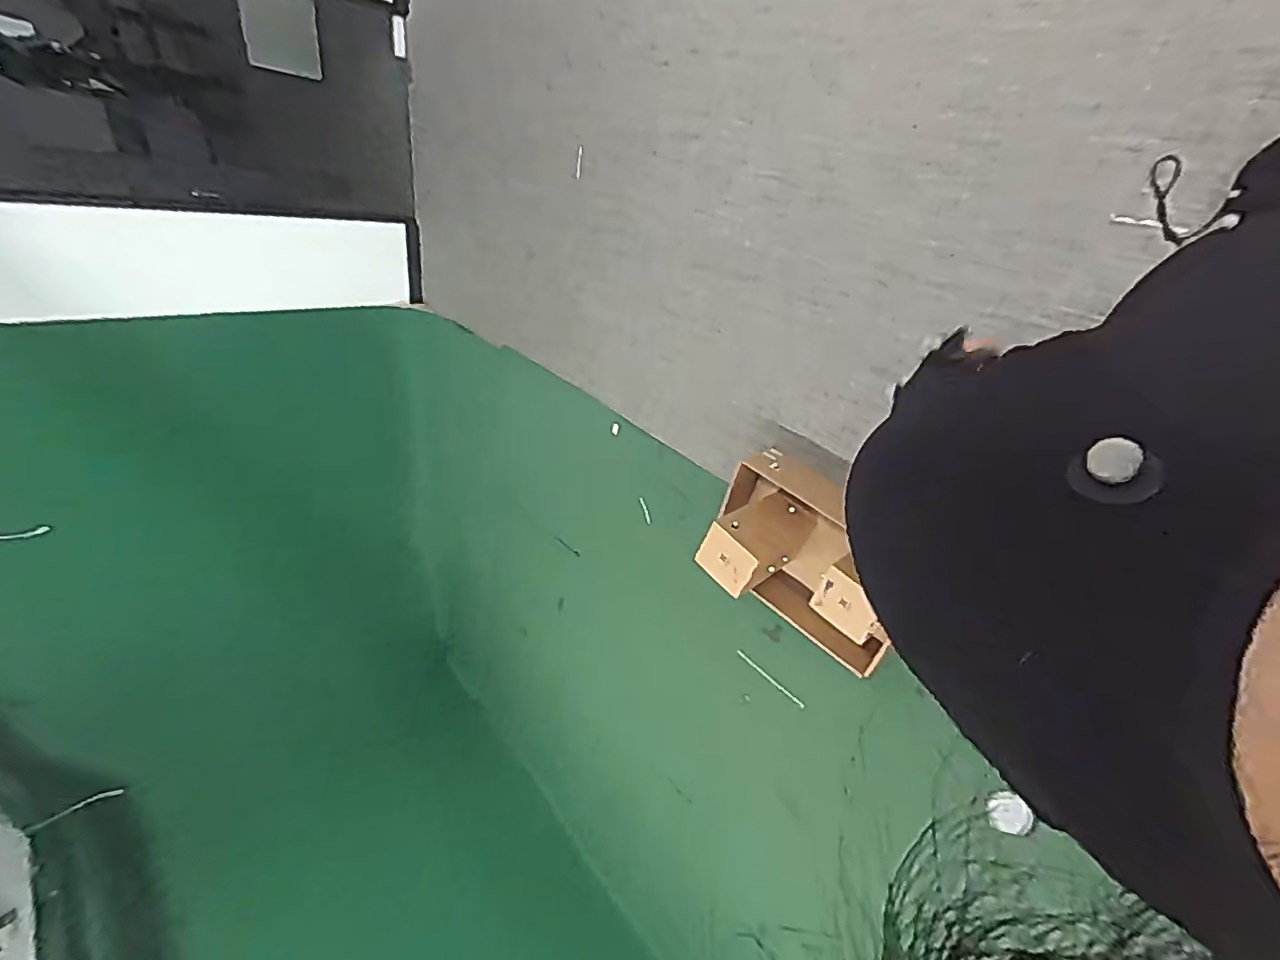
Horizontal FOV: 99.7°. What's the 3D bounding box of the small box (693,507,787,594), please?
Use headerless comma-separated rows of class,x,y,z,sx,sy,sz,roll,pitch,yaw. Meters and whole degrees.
small box,0.292,0.197,1.586,0.179,0.176,0.168,42,131,27

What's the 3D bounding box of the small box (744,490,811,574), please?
small box,0.407,0.159,1.698,0.168,0.176,0.179,42,130,27
